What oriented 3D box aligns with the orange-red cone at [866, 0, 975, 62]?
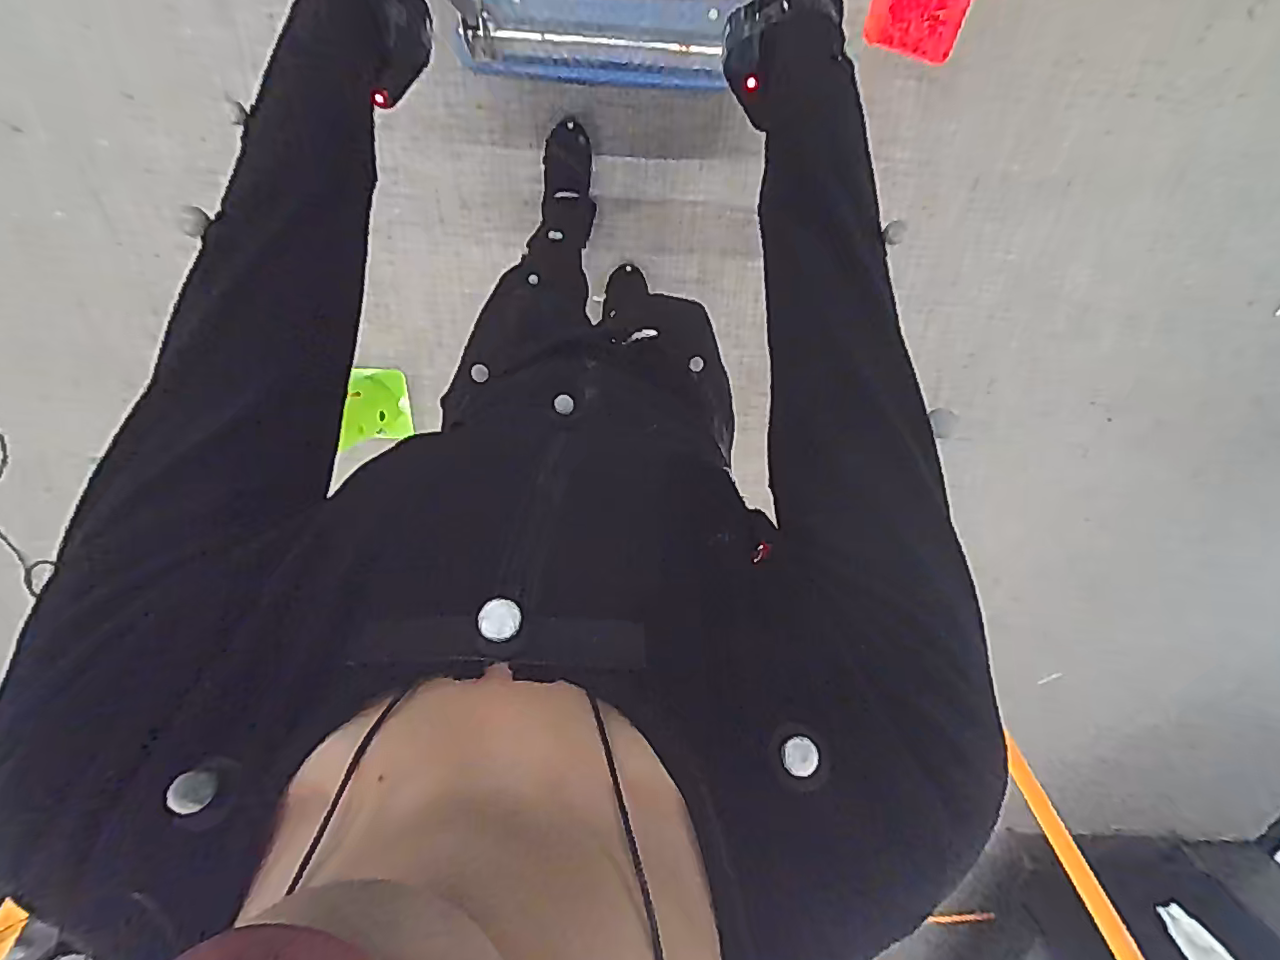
[{"bbox_3d":[0.582,-0.904,0.942,0.198,0.360,0.199,13,118,-7],"label":"orange-red cone"}]
